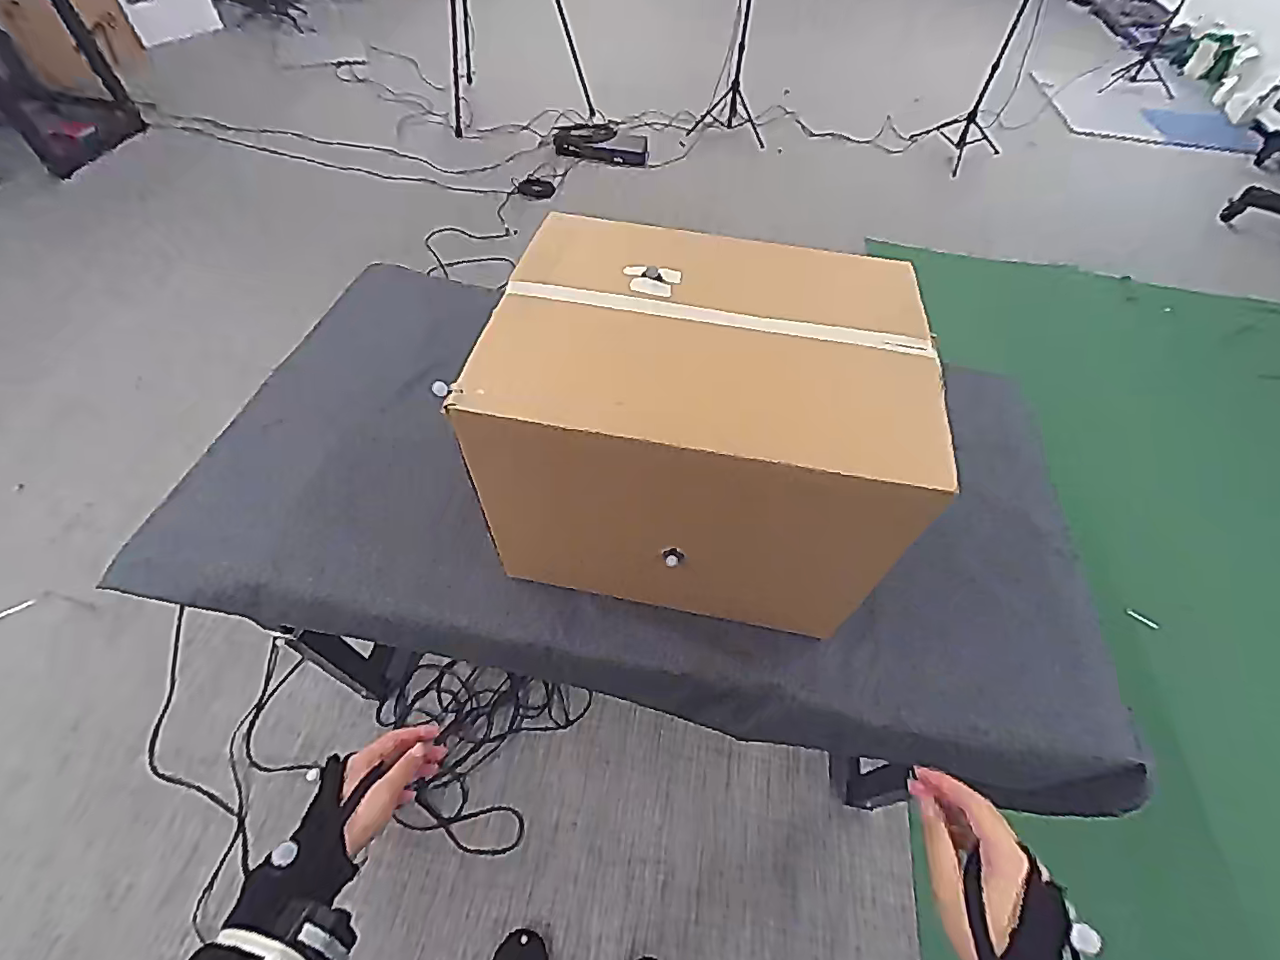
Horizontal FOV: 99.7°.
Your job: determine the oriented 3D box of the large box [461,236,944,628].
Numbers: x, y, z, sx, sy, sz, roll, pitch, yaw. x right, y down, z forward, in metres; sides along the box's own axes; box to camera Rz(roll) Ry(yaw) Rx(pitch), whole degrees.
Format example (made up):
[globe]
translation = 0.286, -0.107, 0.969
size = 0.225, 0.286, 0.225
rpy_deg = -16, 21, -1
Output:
[large box]
translation = 0.067, -0.047, 0.644
size = 0.408, 0.320, 0.320
rpy_deg = 9, 53, 5
